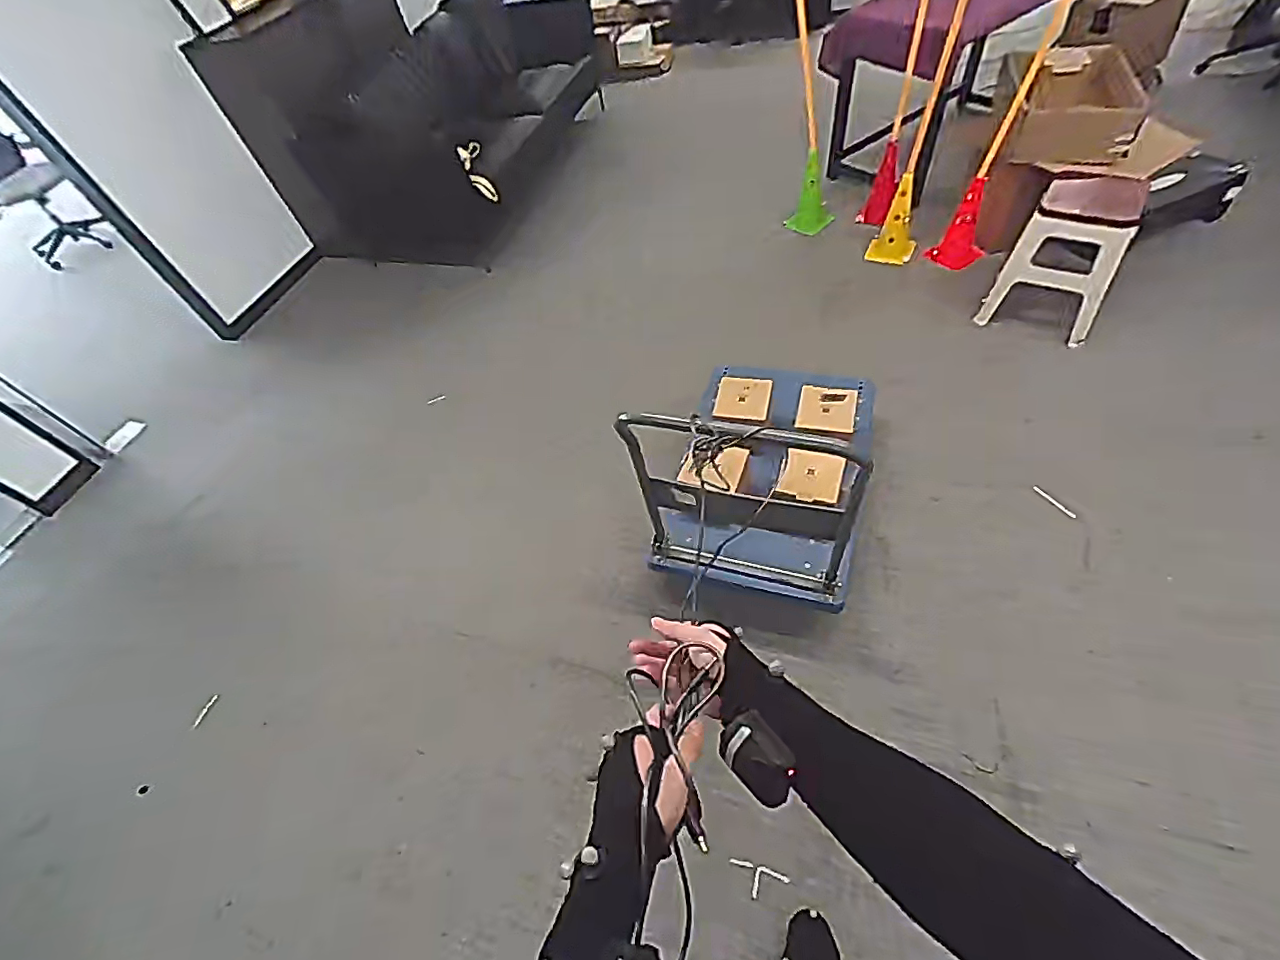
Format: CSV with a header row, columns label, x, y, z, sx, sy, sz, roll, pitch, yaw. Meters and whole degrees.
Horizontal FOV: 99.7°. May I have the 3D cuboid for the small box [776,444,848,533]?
label,x,y,z,sx,sy,sz,roll,pitch,yaw
small box,0.492,0.026,1.566,0.168,0.176,0.179,12,59,20

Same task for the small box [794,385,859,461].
label,x,y,z,sx,sy,sz,roll,pitch,yaw
small box,0.579,-0.171,1.688,0.168,0.176,0.179,9,58,19

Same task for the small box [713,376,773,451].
label,x,y,z,sx,sy,sz,roll,pitch,yaw
small box,0.342,-0.215,1.771,0.168,0.176,0.179,8,57,17
